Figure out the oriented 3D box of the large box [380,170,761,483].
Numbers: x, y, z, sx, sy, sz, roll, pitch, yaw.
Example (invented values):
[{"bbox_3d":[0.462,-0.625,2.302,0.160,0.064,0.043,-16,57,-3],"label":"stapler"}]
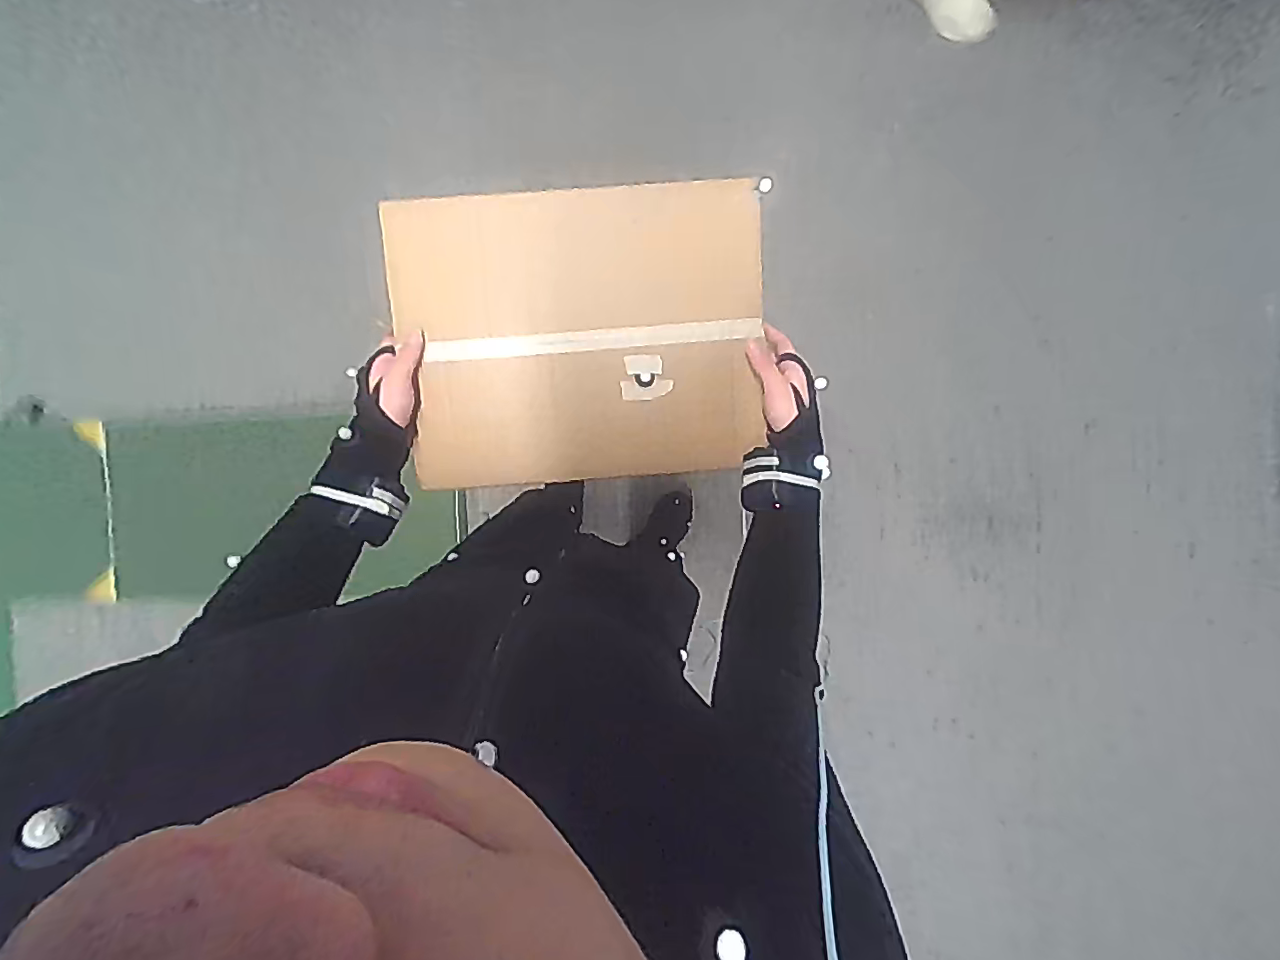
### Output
[{"bbox_3d":[-0.076,-0.190,0.754,0.408,0.320,0.320,-6,100,-2],"label":"large box"}]
